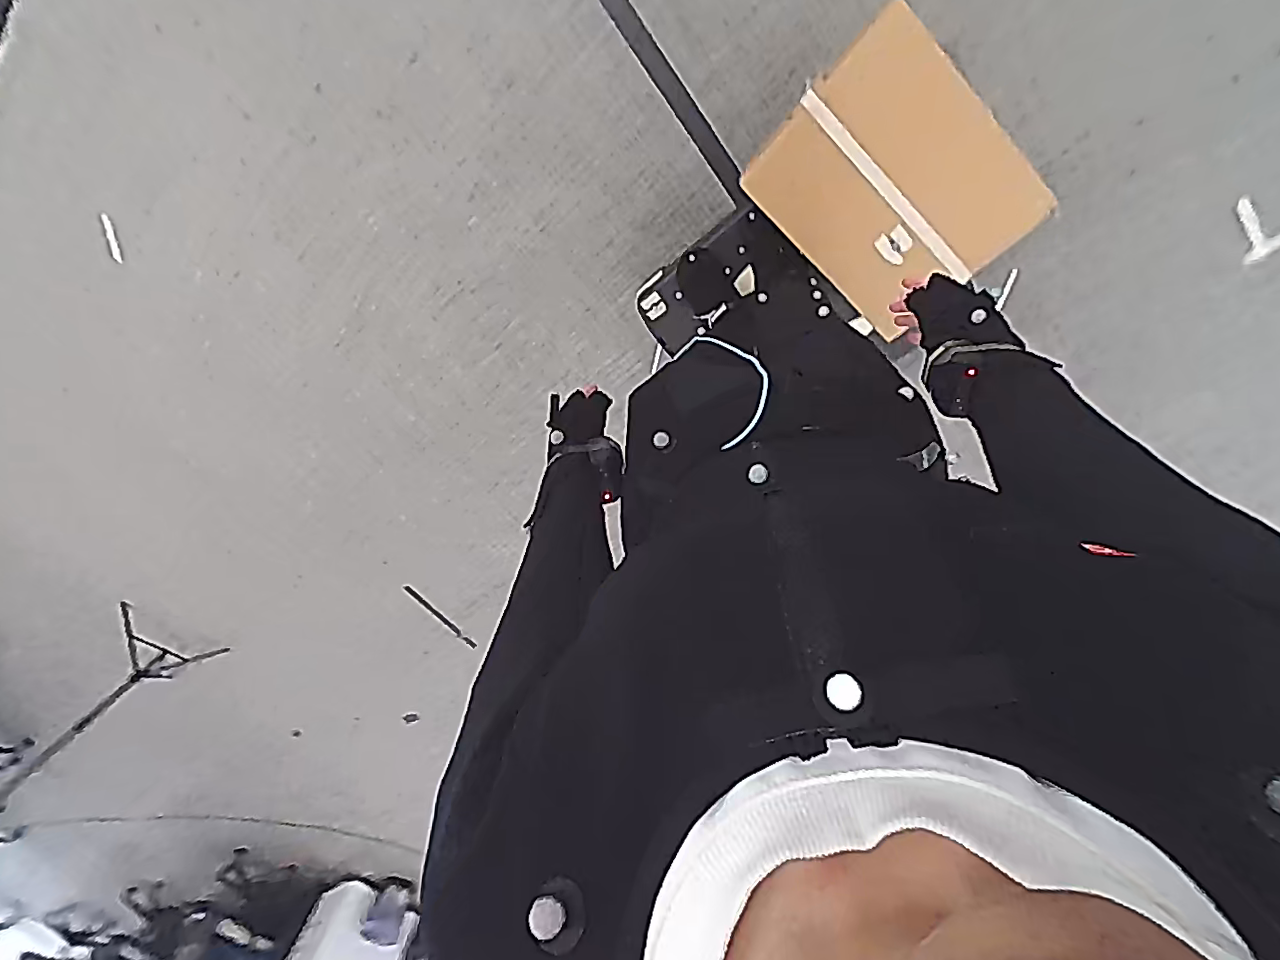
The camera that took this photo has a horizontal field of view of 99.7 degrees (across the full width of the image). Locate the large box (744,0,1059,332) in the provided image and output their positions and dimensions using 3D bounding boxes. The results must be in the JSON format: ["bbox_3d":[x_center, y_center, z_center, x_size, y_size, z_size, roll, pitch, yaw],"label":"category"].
[{"bbox_3d":[0.445,-0.563,1.005,0.408,0.320,0.320,38,126,-14],"label":"large box"}]
